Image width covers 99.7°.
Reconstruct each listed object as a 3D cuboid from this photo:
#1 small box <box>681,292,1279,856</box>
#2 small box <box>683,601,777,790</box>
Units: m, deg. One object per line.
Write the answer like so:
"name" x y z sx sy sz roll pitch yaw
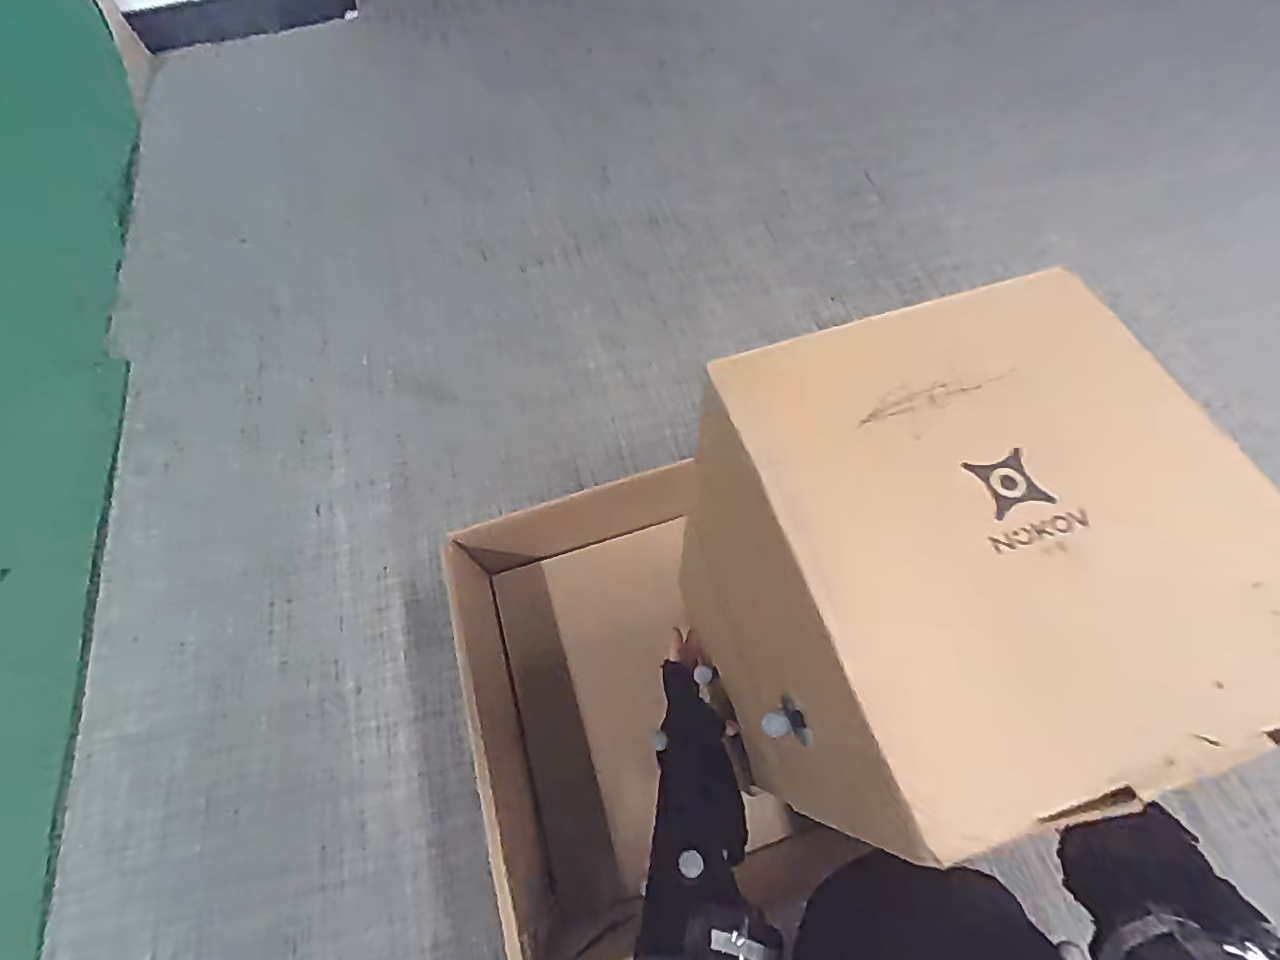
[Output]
"small box" 0.124 0.047 0.267 0.168 0.176 0.179 -16 63 -6
"small box" 0.150 0.207 0.568 0.179 0.176 0.168 -15 63 -3
